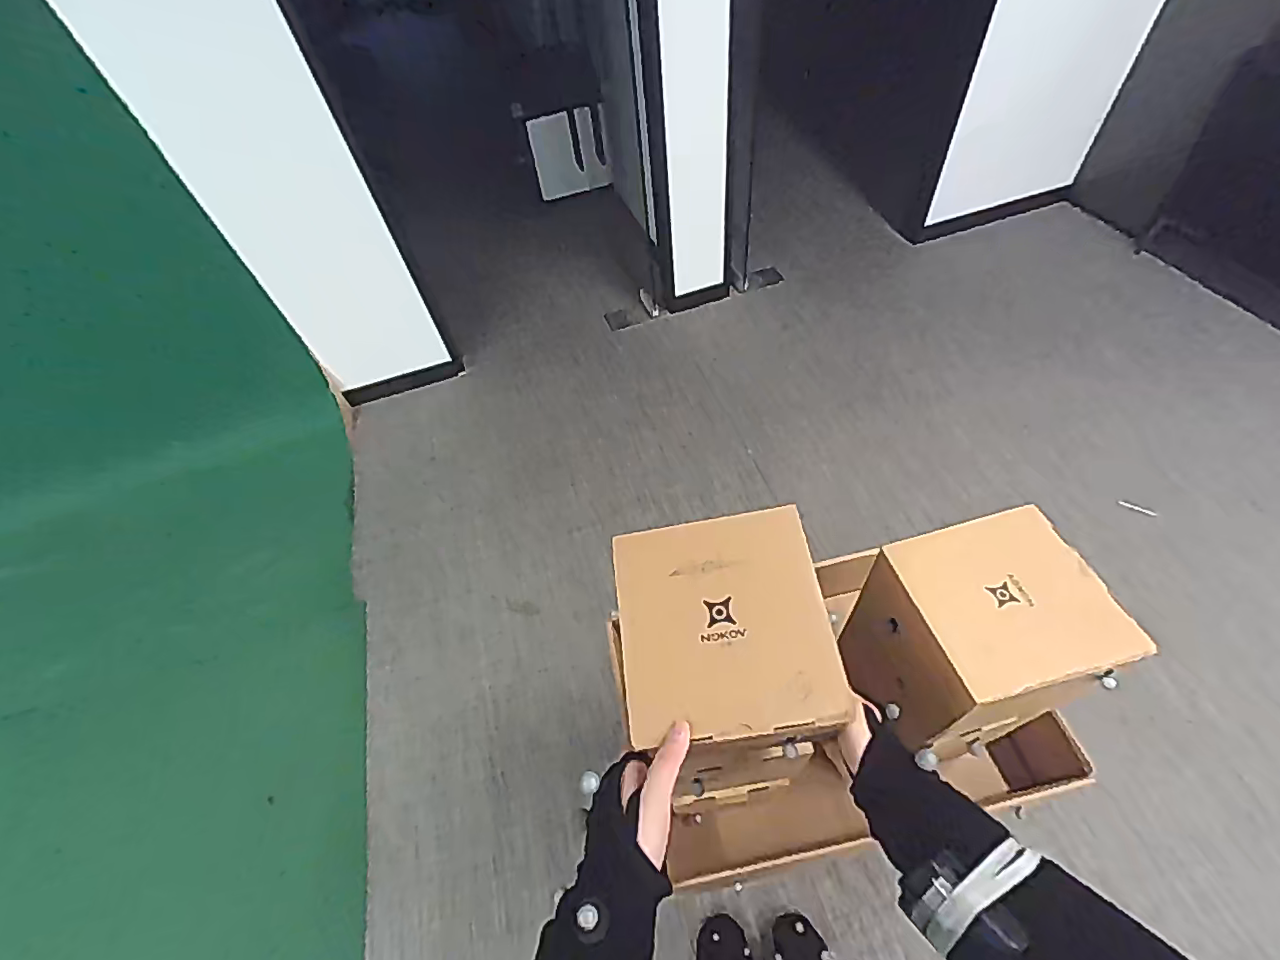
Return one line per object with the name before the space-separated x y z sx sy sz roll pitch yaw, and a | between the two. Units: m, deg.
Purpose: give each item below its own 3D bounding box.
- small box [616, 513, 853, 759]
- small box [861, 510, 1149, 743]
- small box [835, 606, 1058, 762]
small box | 0.079 0.154 0.501 0.168 0.176 0.179 -10 59 5
small box | 0.360 0.164 0.583 0.179 0.176 0.168 -15 53 -4
small box | 0.382 0.257 0.715 0.168 0.176 0.179 -15 54 -4
